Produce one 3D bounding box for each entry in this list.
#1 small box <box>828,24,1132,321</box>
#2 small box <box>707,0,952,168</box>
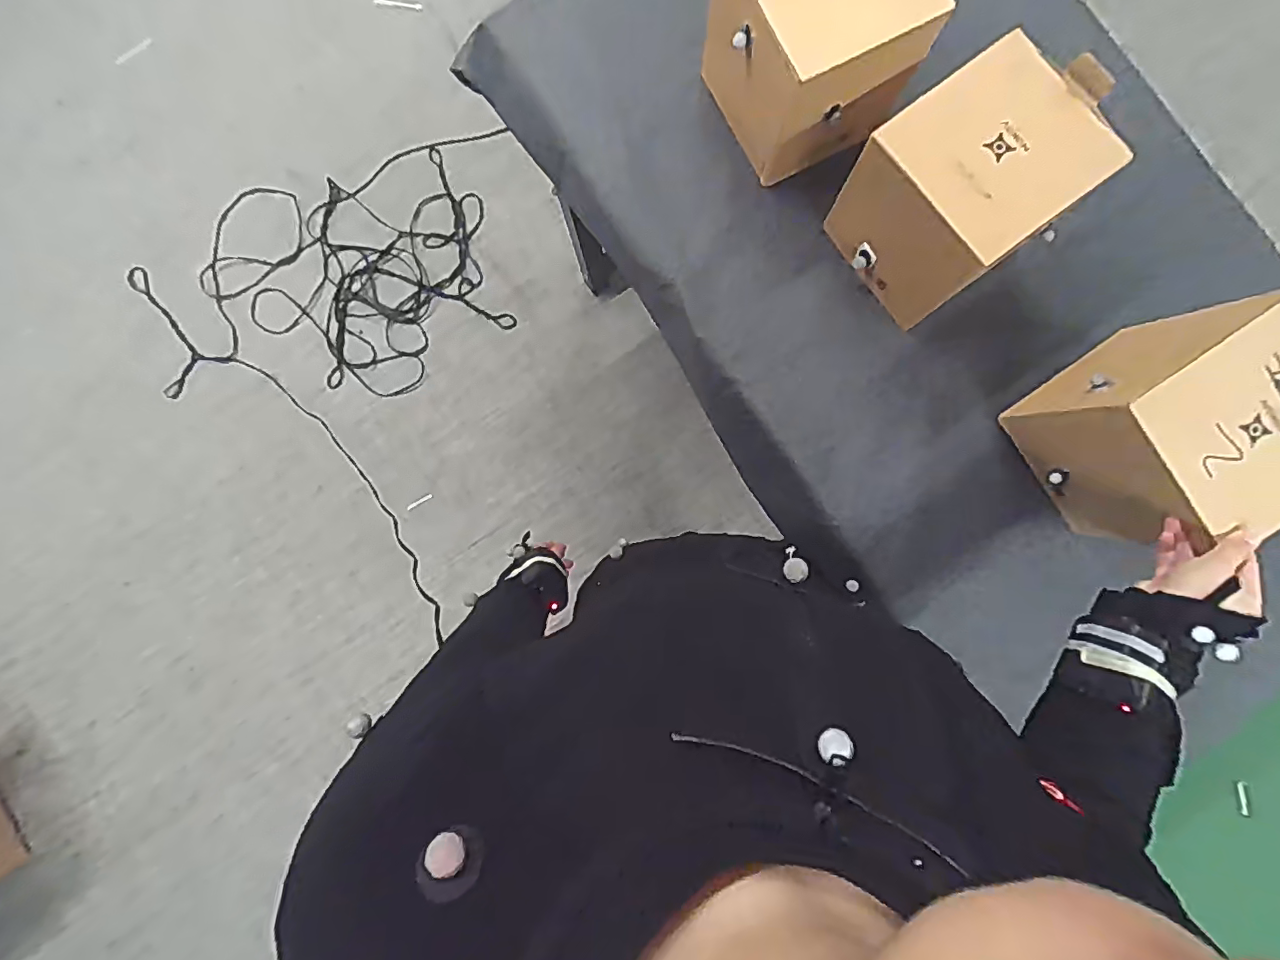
[{"bbox_3d":[0.335,-0.305,0.575,0.179,0.176,0.168,-37,85,-1],"label":"small box"},{"bbox_3d":[0.187,-0.482,0.591,0.168,0.176,0.179,-26,85,-1],"label":"small box"}]
